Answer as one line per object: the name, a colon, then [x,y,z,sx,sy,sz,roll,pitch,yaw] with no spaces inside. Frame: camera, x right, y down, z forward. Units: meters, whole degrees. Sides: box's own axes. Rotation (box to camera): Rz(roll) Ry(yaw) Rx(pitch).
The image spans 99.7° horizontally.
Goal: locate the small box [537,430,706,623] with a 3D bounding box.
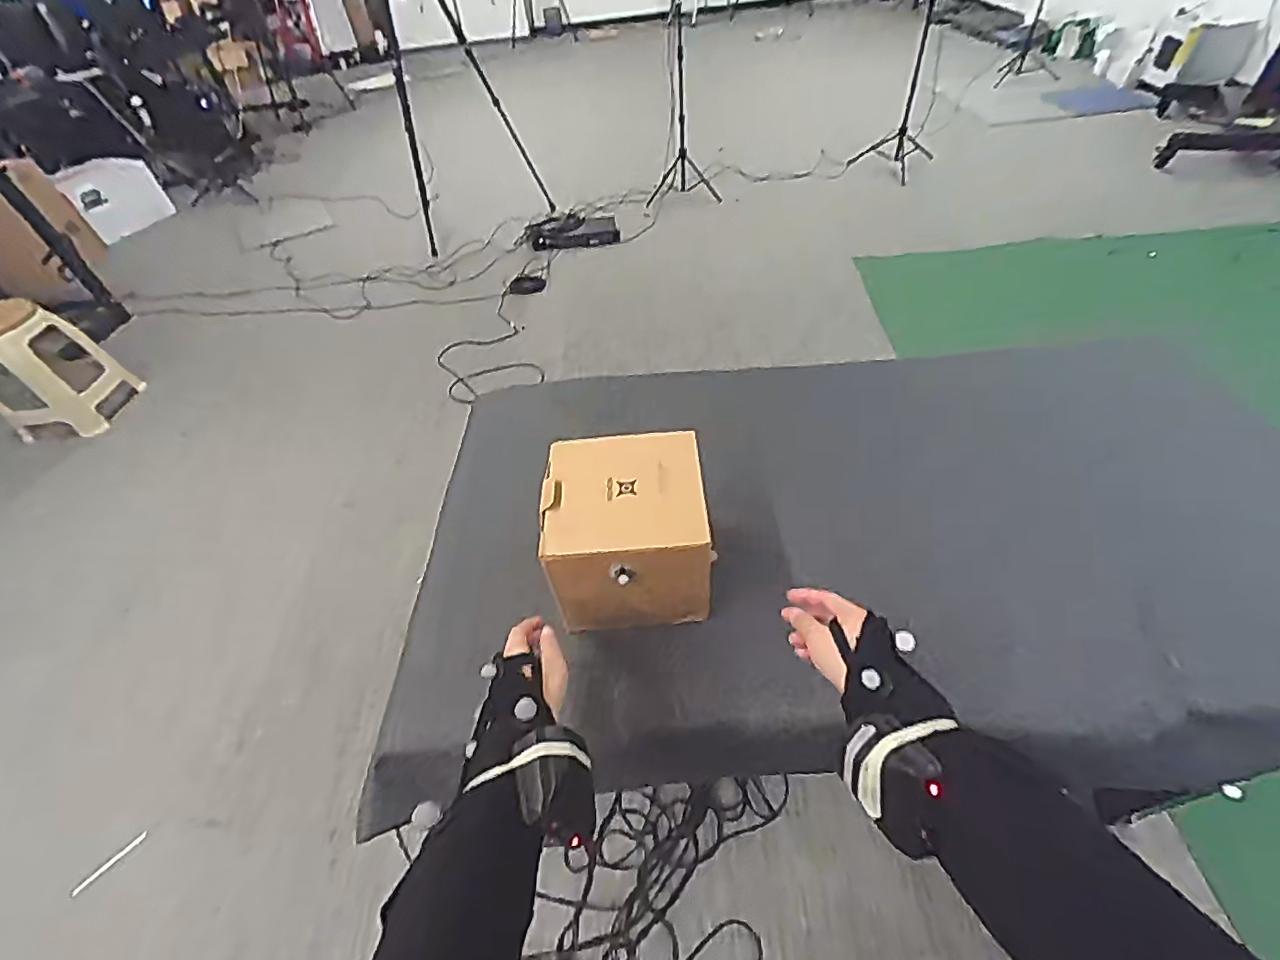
small box: [-0.016,0.060,0.654,0.179,0.176,0.168,-4,49,1]
